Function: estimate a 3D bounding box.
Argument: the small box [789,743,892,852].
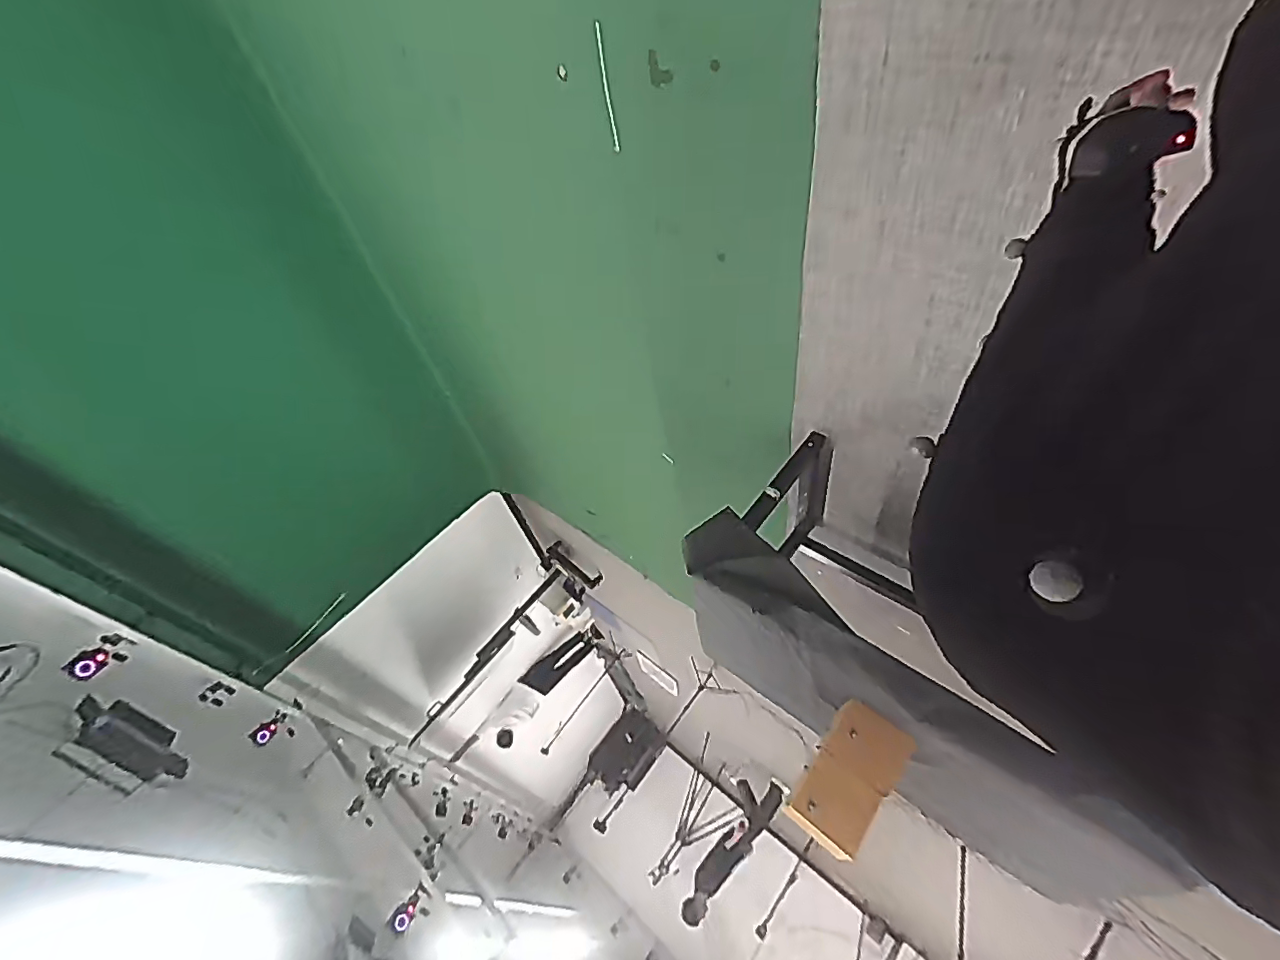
[{"bbox_3d":[0.516,0.814,1.394,0.179,0.176,0.168,34,156,24],"label":"small box"}]

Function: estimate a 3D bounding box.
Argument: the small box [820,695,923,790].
[{"bbox_3d":[0.618,0.703,1.453,0.179,0.176,0.168,32,155,23],"label":"small box"}]
